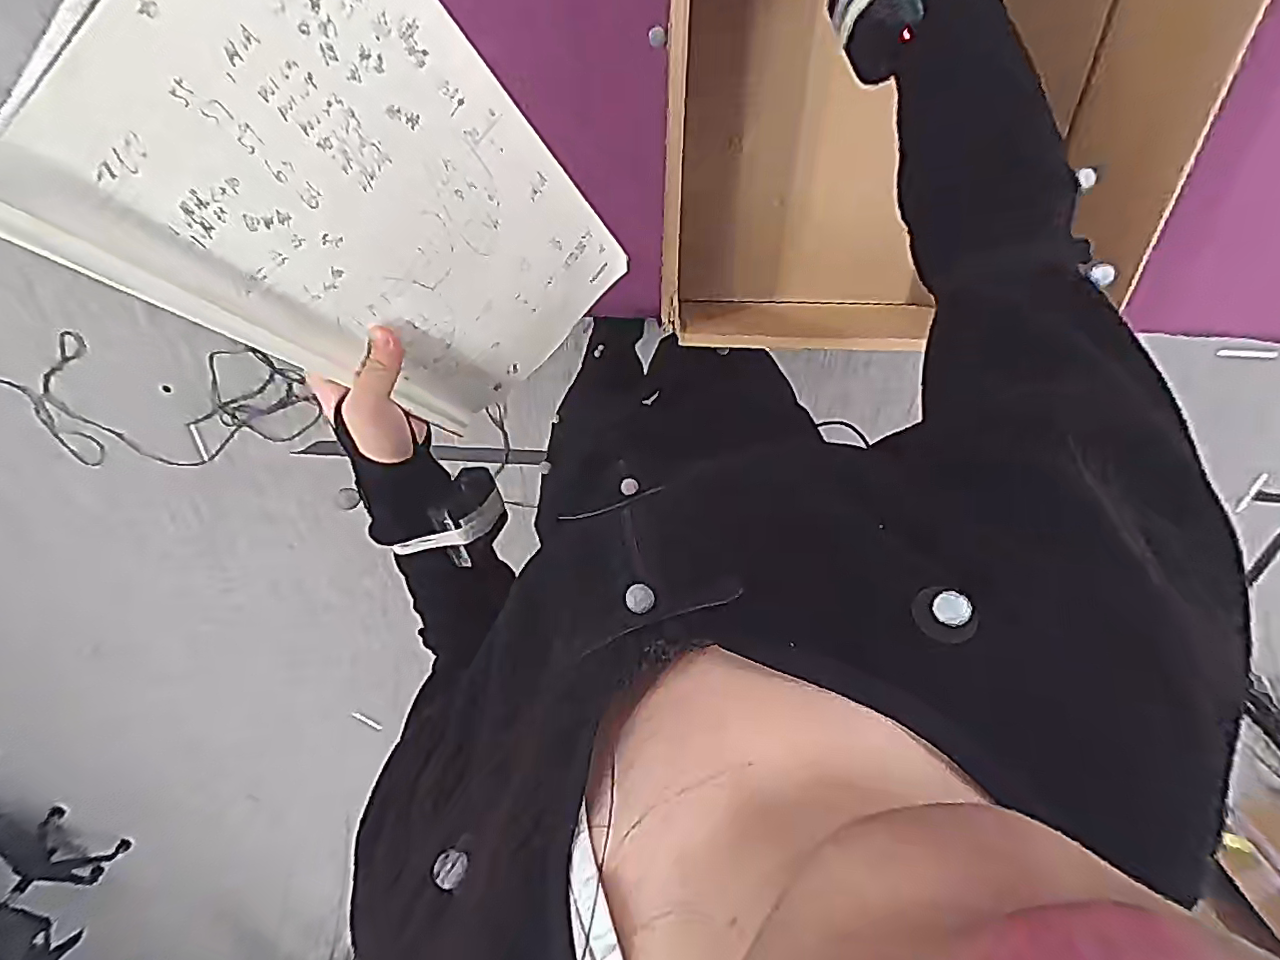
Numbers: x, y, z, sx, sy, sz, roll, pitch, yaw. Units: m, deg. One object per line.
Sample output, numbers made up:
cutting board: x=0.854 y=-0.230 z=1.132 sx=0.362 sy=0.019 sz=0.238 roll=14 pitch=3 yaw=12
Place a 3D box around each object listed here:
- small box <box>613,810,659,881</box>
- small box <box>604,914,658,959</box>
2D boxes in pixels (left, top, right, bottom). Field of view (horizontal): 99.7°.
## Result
small box: x=-0.013 y=1.346 z=1.996 sx=0.168 sy=0.176 sz=0.179 roll=0 pitch=122 yaw=2
small box: x=-0.030 y=1.518 z=1.716 sx=0.168 sy=0.176 sz=0.179 roll=2 pitch=121 yaw=0
